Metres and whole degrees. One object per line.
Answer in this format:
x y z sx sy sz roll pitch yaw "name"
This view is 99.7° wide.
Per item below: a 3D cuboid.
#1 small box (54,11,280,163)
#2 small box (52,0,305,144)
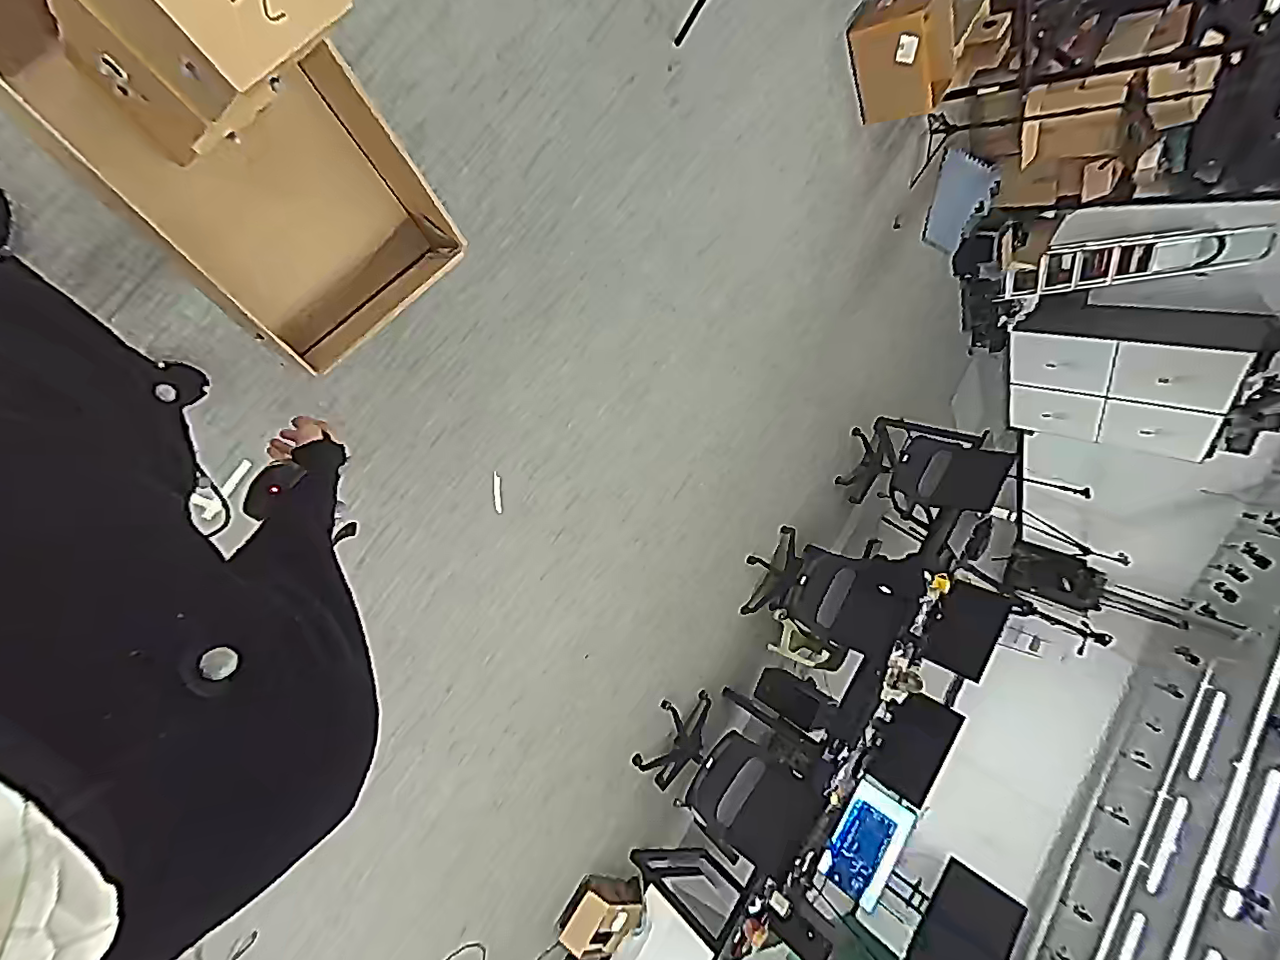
-0.677 -0.592 0.781 0.168 0.176 0.179 -53 137 -16 "small box"
-0.567 -0.553 0.666 0.179 0.176 0.168 -55 136 -15 "small box"
